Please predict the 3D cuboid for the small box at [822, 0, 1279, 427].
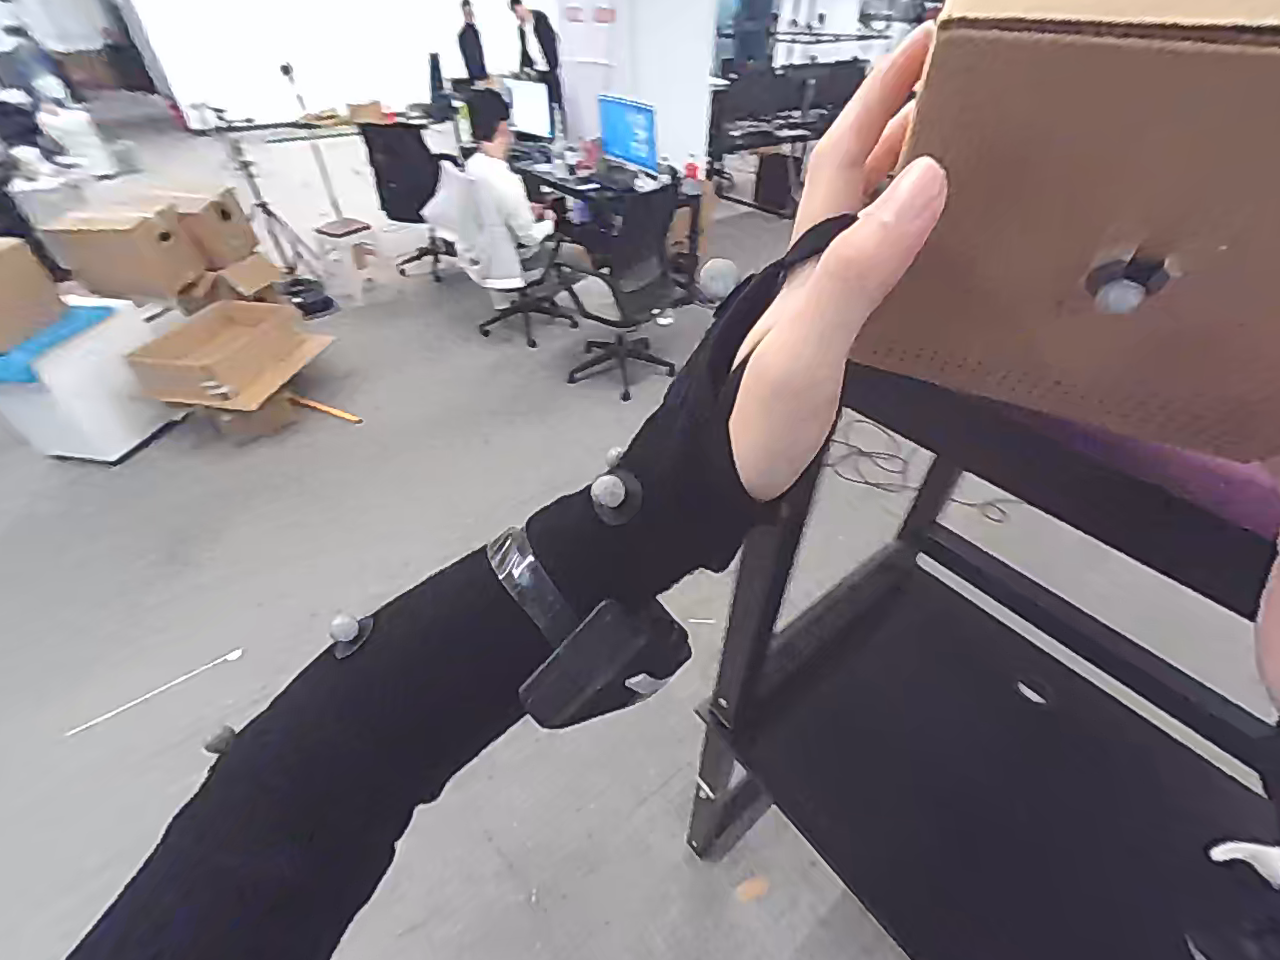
[{"bbox_3d":[0.188,-0.139,0.214,0.179,0.176,0.168,20,77,19],"label":"small box"}]
